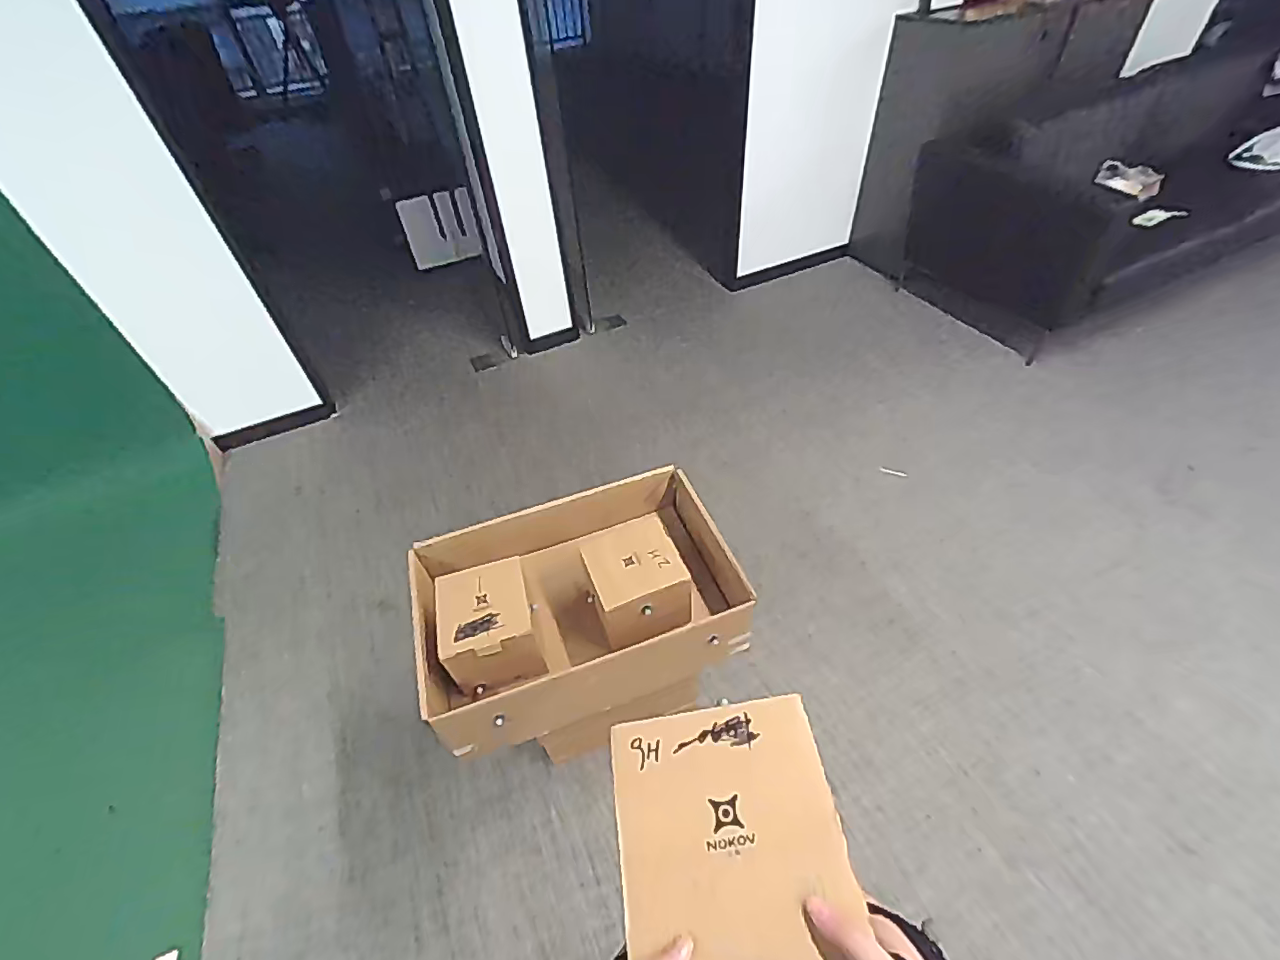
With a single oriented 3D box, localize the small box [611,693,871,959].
[{"bbox_3d":[0.075,0.310,0.466,0.168,0.176,0.179,-10,49,2],"label":"small box"}]
